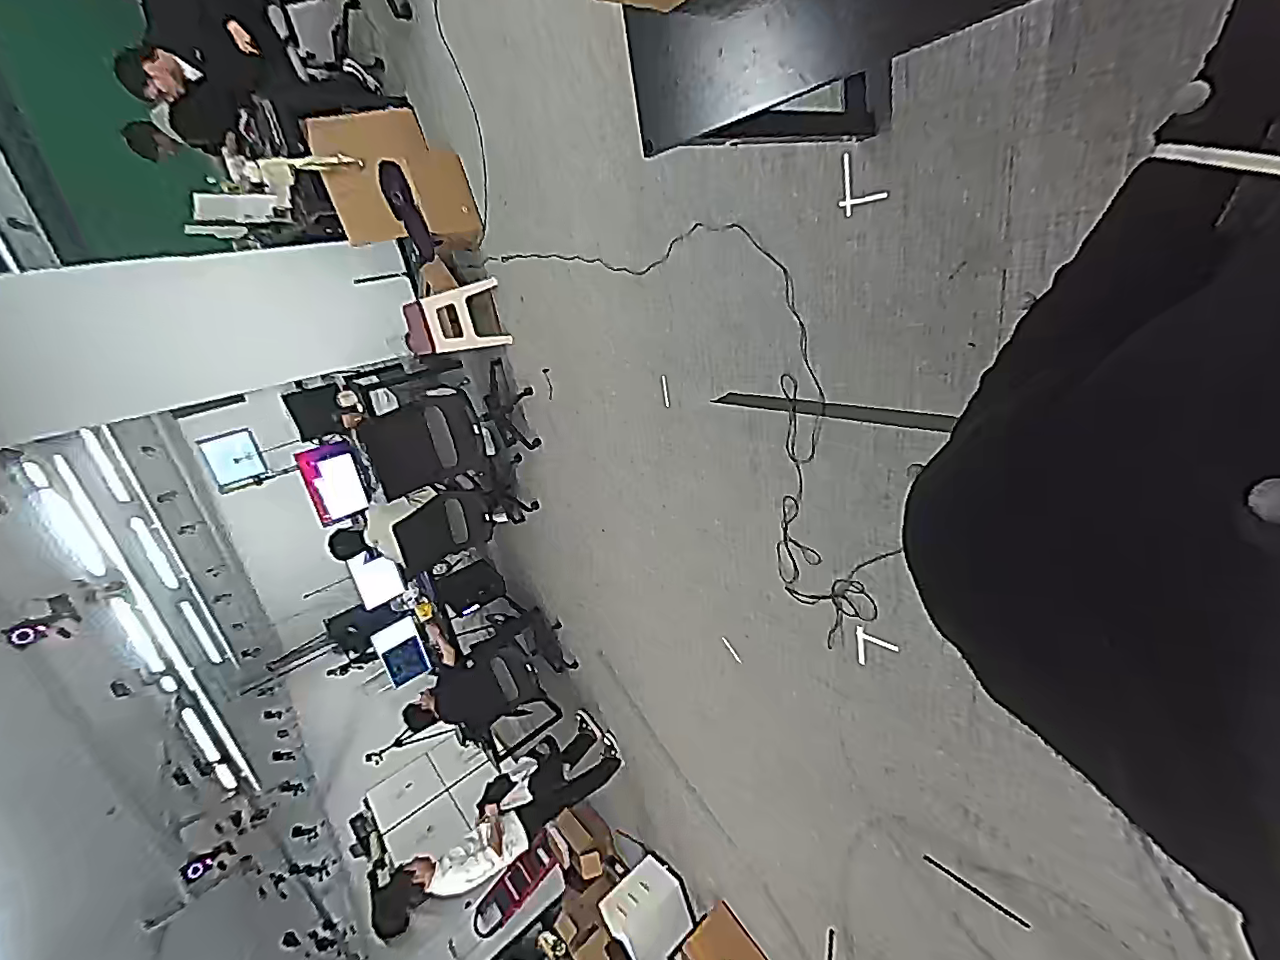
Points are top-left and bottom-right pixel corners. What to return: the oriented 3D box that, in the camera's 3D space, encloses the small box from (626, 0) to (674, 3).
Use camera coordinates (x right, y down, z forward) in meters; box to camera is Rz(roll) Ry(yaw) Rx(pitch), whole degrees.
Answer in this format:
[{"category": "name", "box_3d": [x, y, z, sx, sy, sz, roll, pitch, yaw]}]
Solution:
[{"category": "small box", "box_3d": [0.021, -0.791, 0.735, 0.168, 0.176, 0.179, 14, 121, 48]}]
